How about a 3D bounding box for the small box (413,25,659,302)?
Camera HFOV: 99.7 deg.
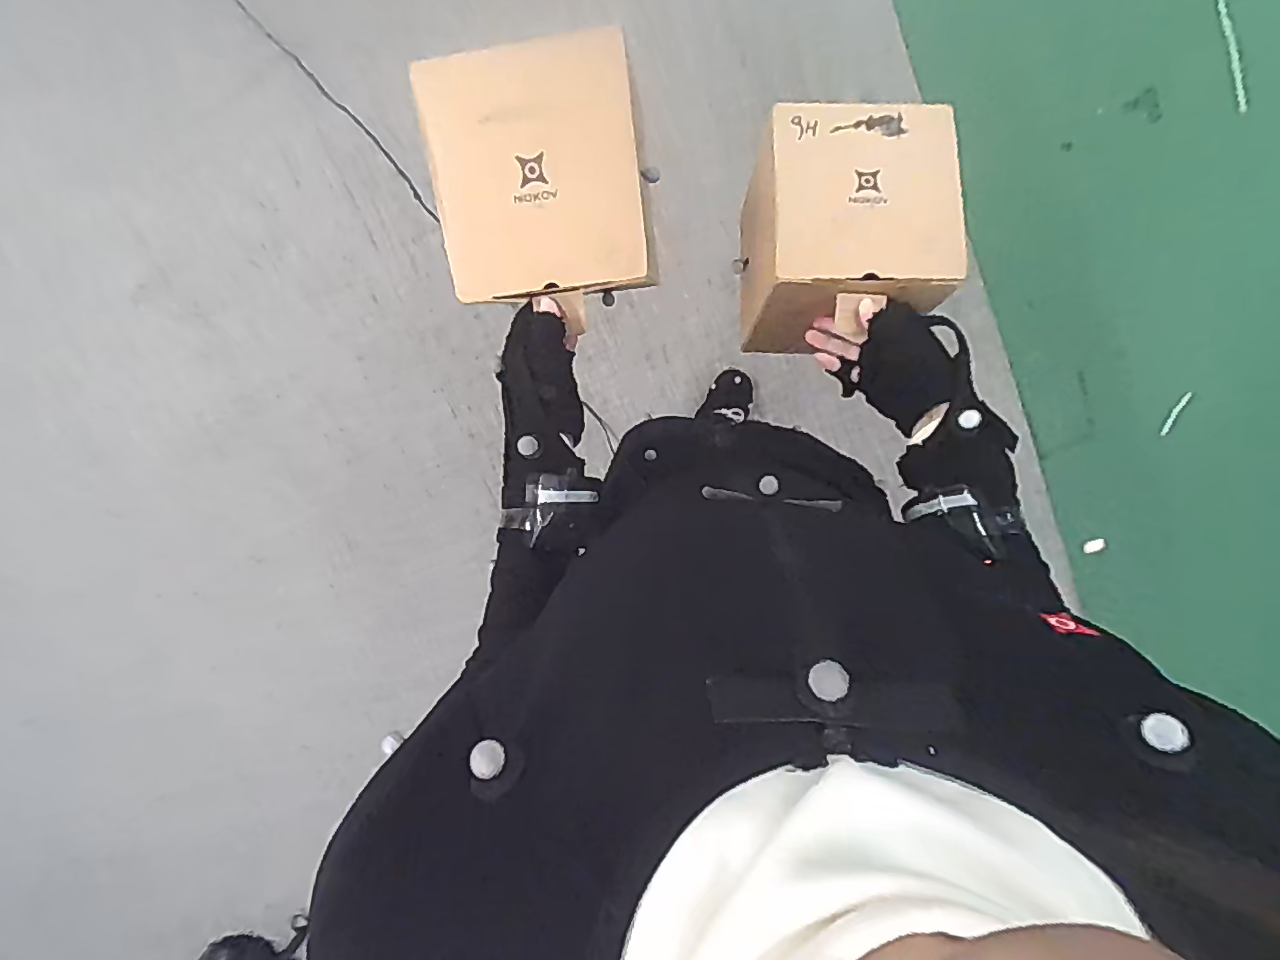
[{"bbox_3d":[-0.076,-0.270,0.507,0.168,0.176,0.179,-6,107,8],"label":"small box"}]
